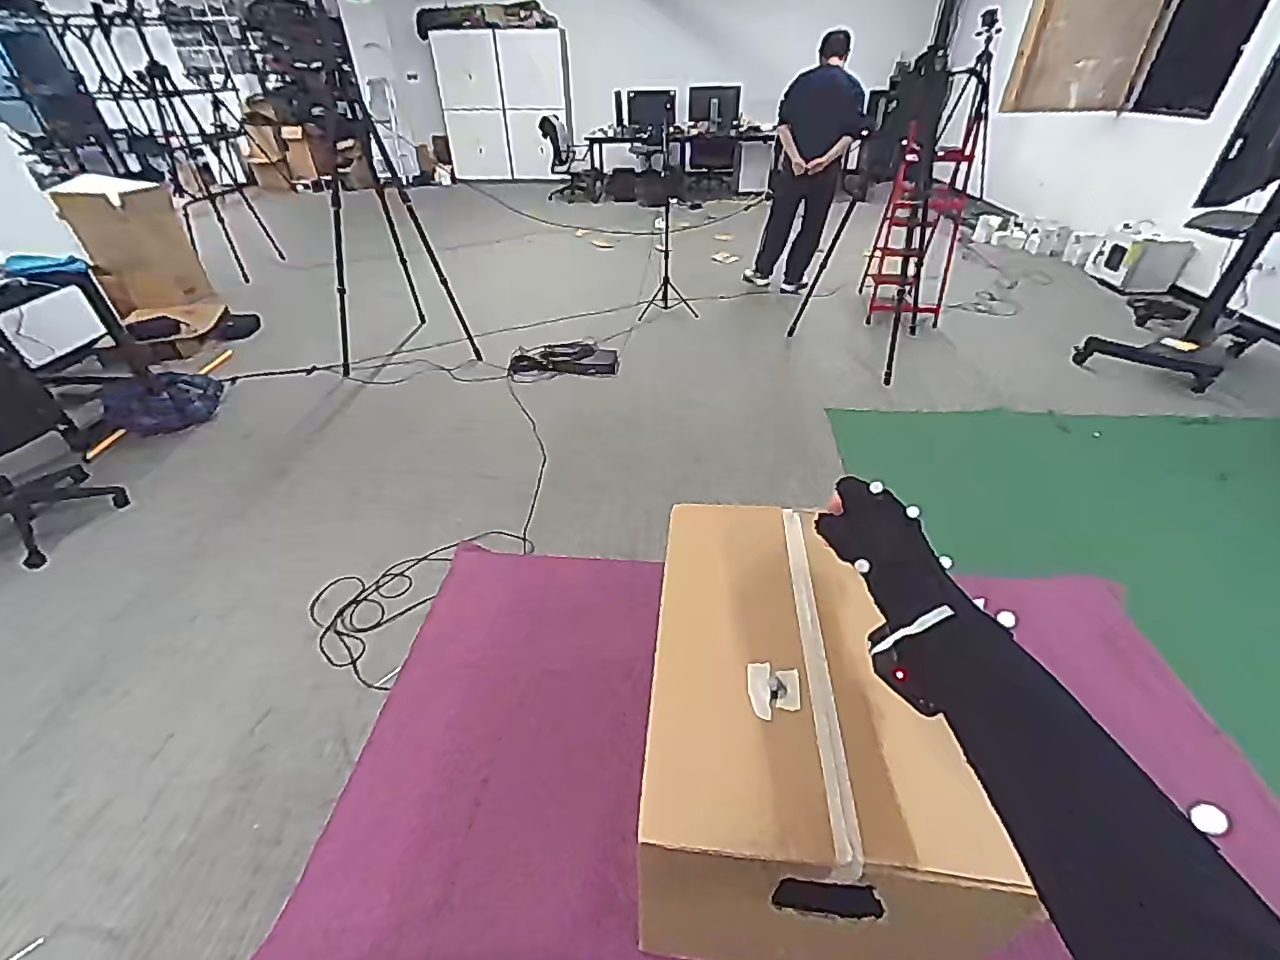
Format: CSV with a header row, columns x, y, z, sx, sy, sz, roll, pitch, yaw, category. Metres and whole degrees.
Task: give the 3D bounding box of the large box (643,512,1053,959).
x,y,z,sx,sy,sz,roll,pitch,yaw,category
0.175,0.291,0.658,0.320,0.320,0.408,3,38,6,large box
